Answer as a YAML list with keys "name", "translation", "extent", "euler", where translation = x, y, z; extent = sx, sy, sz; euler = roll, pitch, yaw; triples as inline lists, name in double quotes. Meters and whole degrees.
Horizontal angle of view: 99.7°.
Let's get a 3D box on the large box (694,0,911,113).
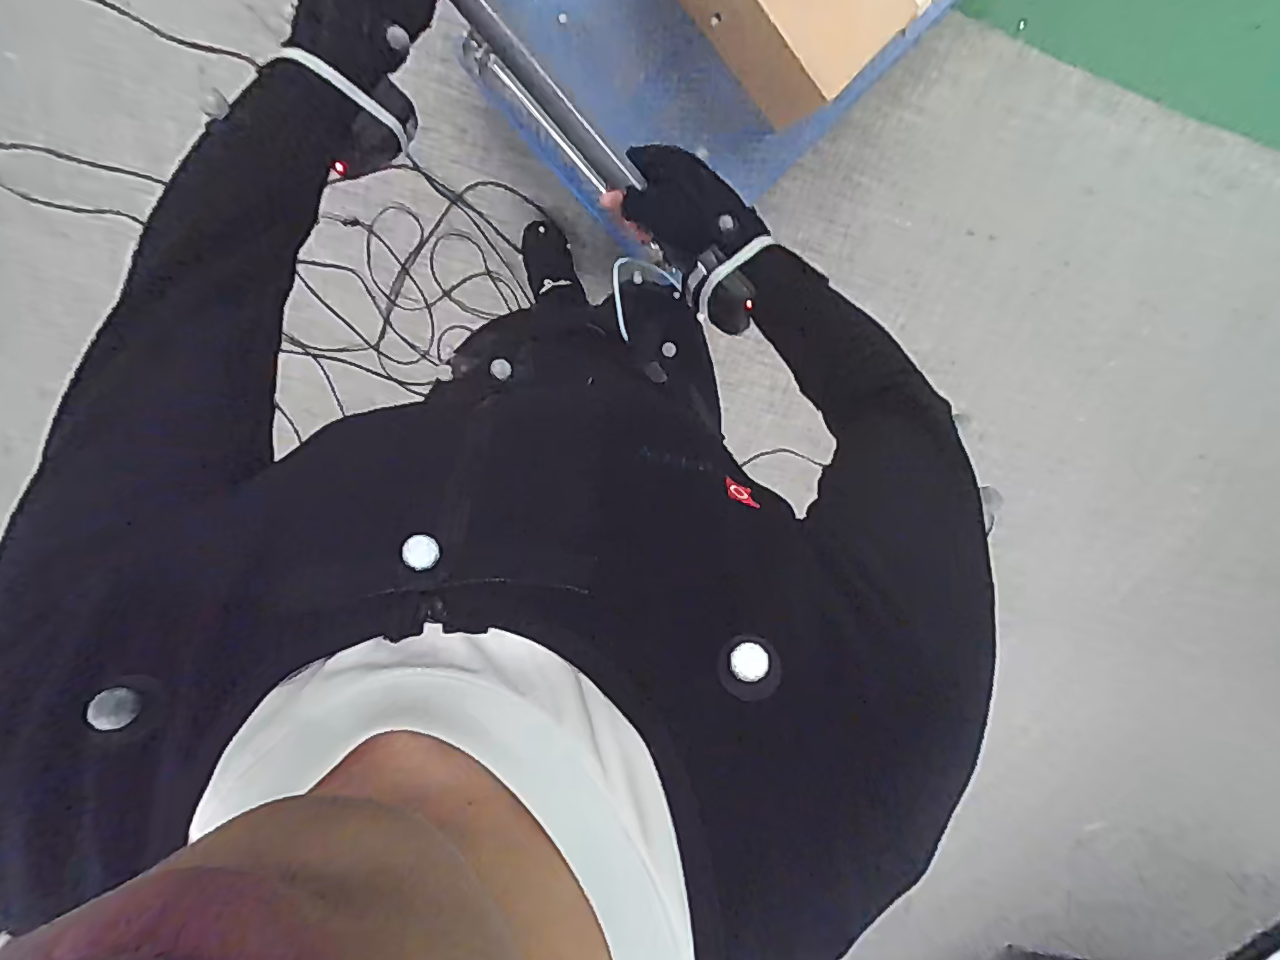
- name: "large box"
  translation: [0.235, -0.847, 0.793]
  extent: [0.320, 0.320, 0.408]
  euler: [-42, 111, 18]
